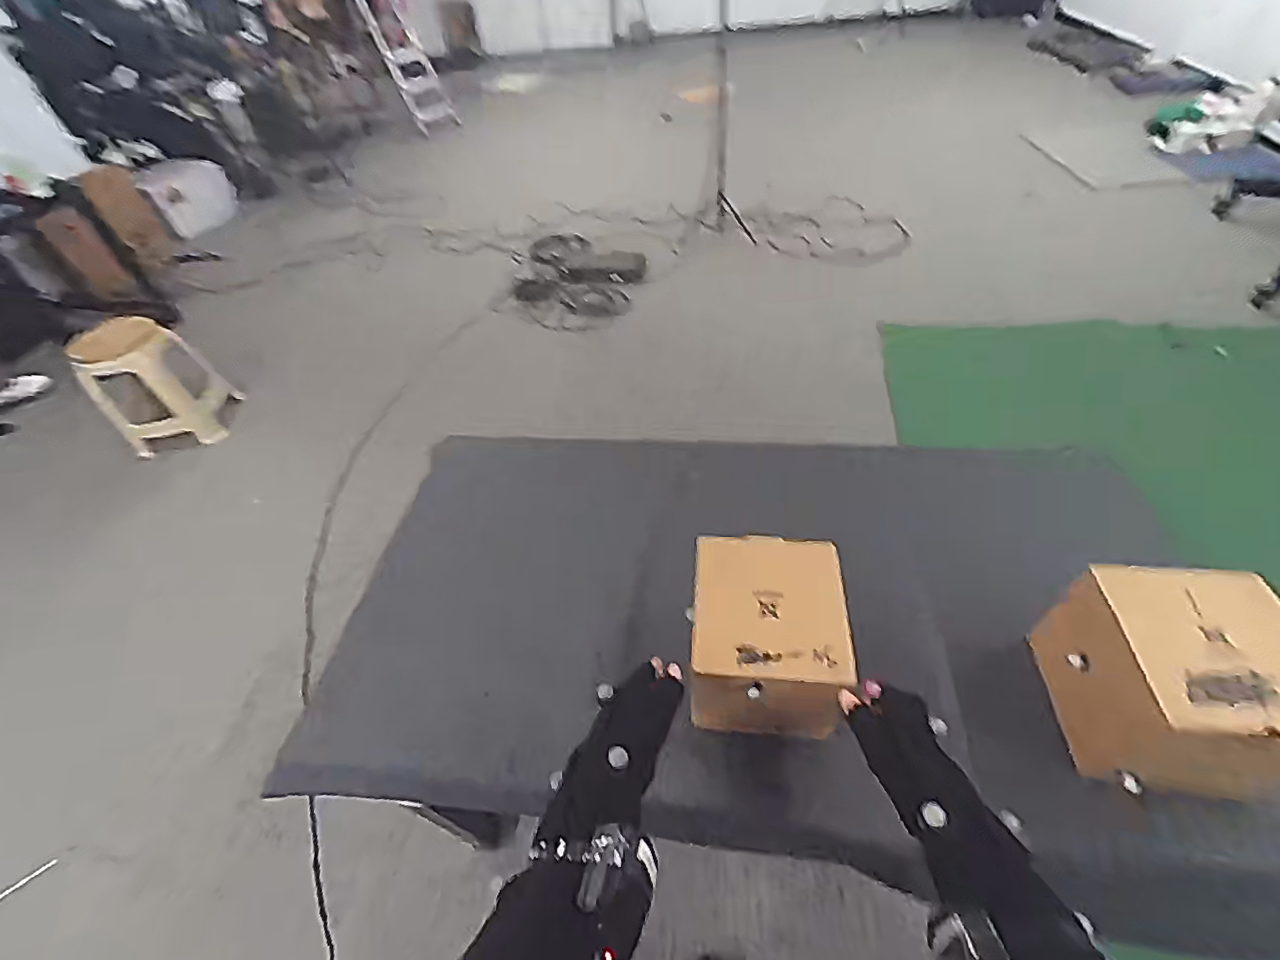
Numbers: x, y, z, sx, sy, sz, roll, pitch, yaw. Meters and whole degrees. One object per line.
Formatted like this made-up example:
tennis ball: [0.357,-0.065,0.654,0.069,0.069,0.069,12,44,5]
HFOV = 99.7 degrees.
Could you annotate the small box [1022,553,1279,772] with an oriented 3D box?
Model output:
small box: [0.568,0.203,0.599,0.168,0.176,0.179,2,47,9]

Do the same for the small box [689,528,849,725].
small box: [0.148,0.181,0.672,0.168,0.176,0.179,1,49,8]
